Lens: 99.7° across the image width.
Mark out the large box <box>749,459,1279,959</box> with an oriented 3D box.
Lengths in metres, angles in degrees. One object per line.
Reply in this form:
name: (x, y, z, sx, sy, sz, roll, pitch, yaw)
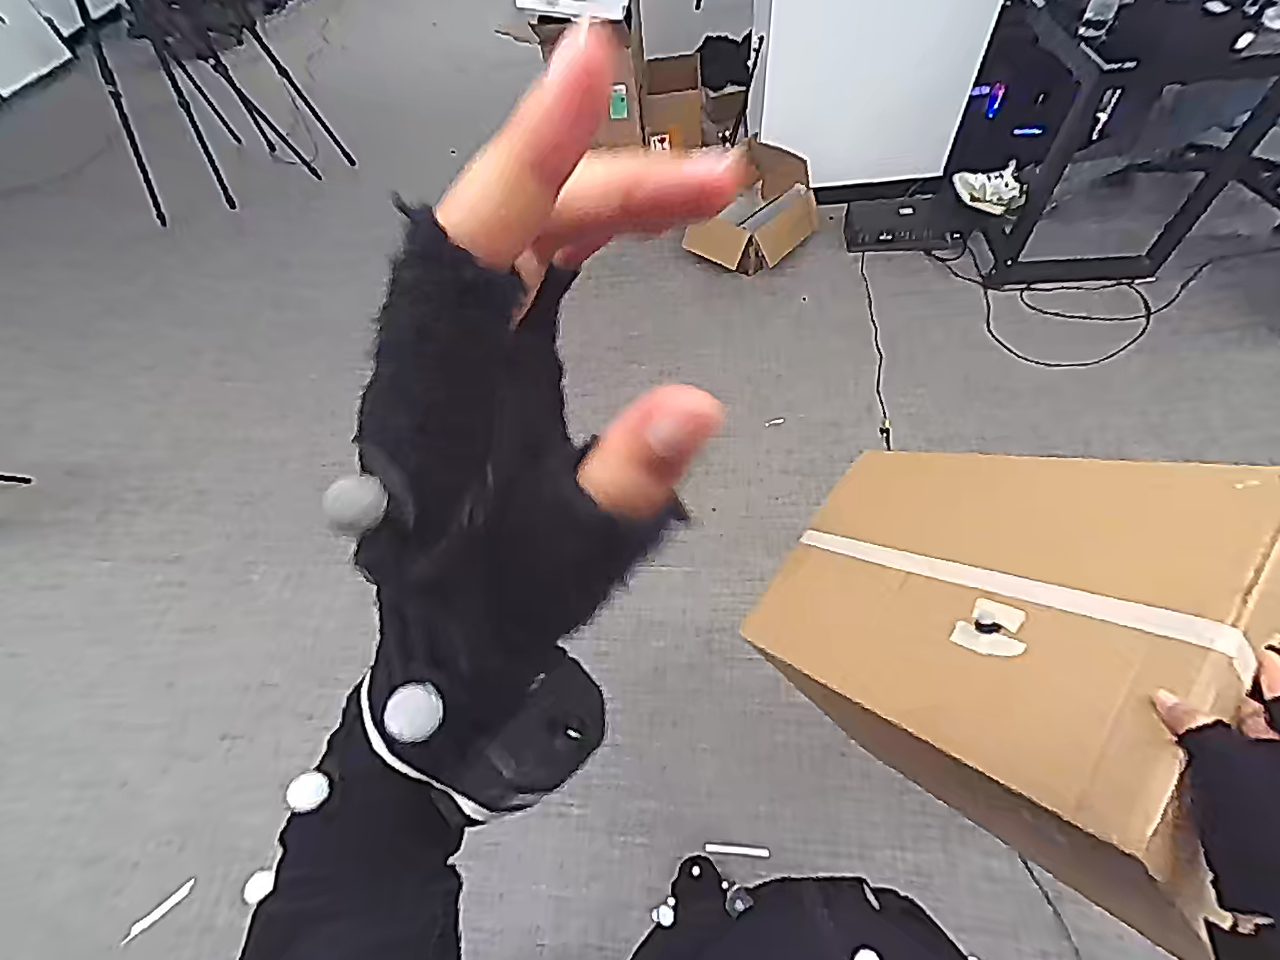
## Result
large box: (0.411, 0.196, 0.599, 0.320, 0.320, 0.408, -51, 22, -13)
